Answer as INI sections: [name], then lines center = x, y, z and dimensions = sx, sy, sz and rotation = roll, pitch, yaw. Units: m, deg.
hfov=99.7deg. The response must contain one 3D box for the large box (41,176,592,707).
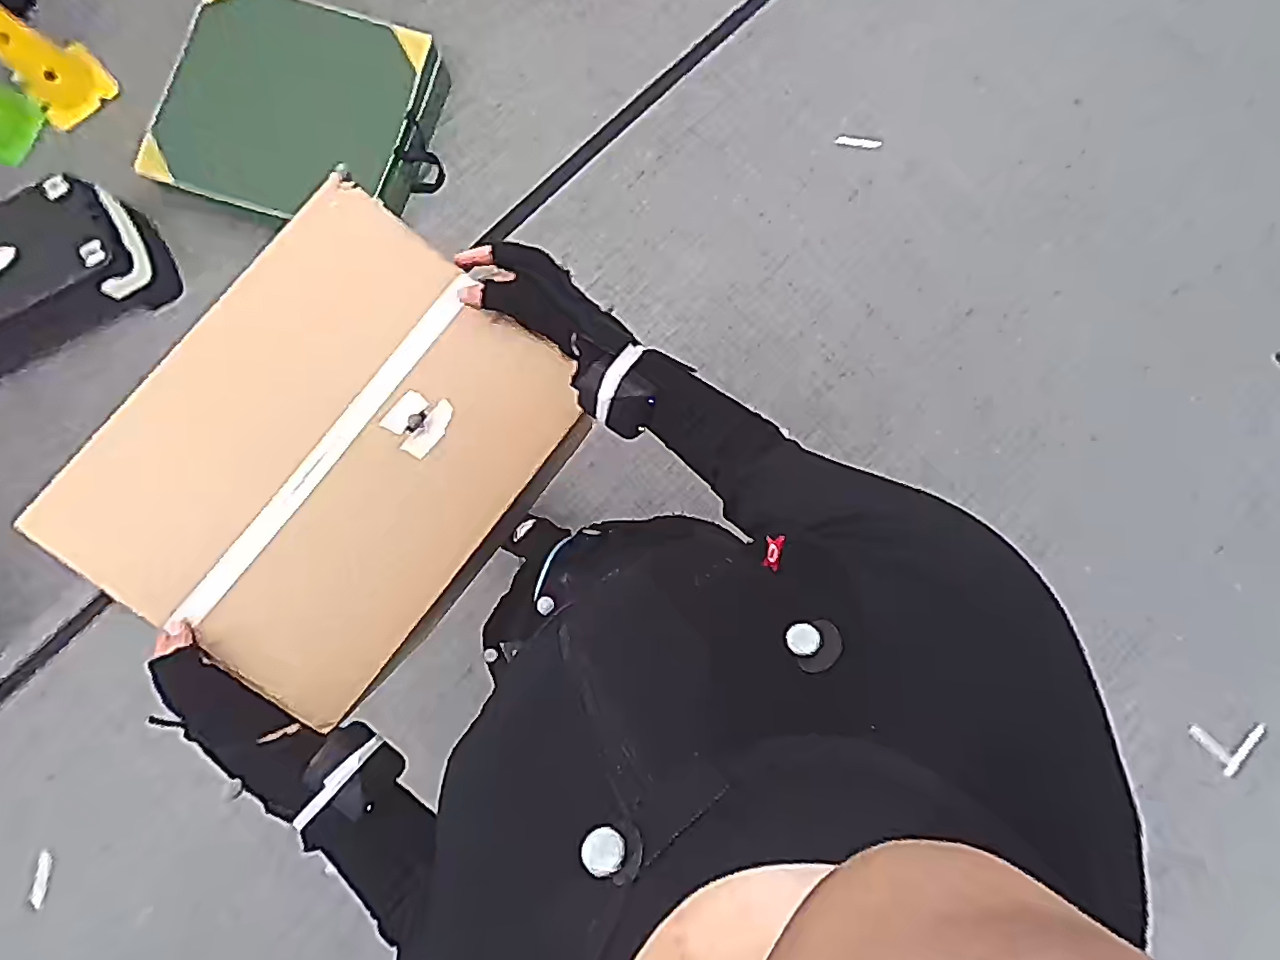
[large box]
center = -0.302, -0.032, 0.644
dimensions = 0.320, 0.320, 0.408
rotation = 38, 83, -6
